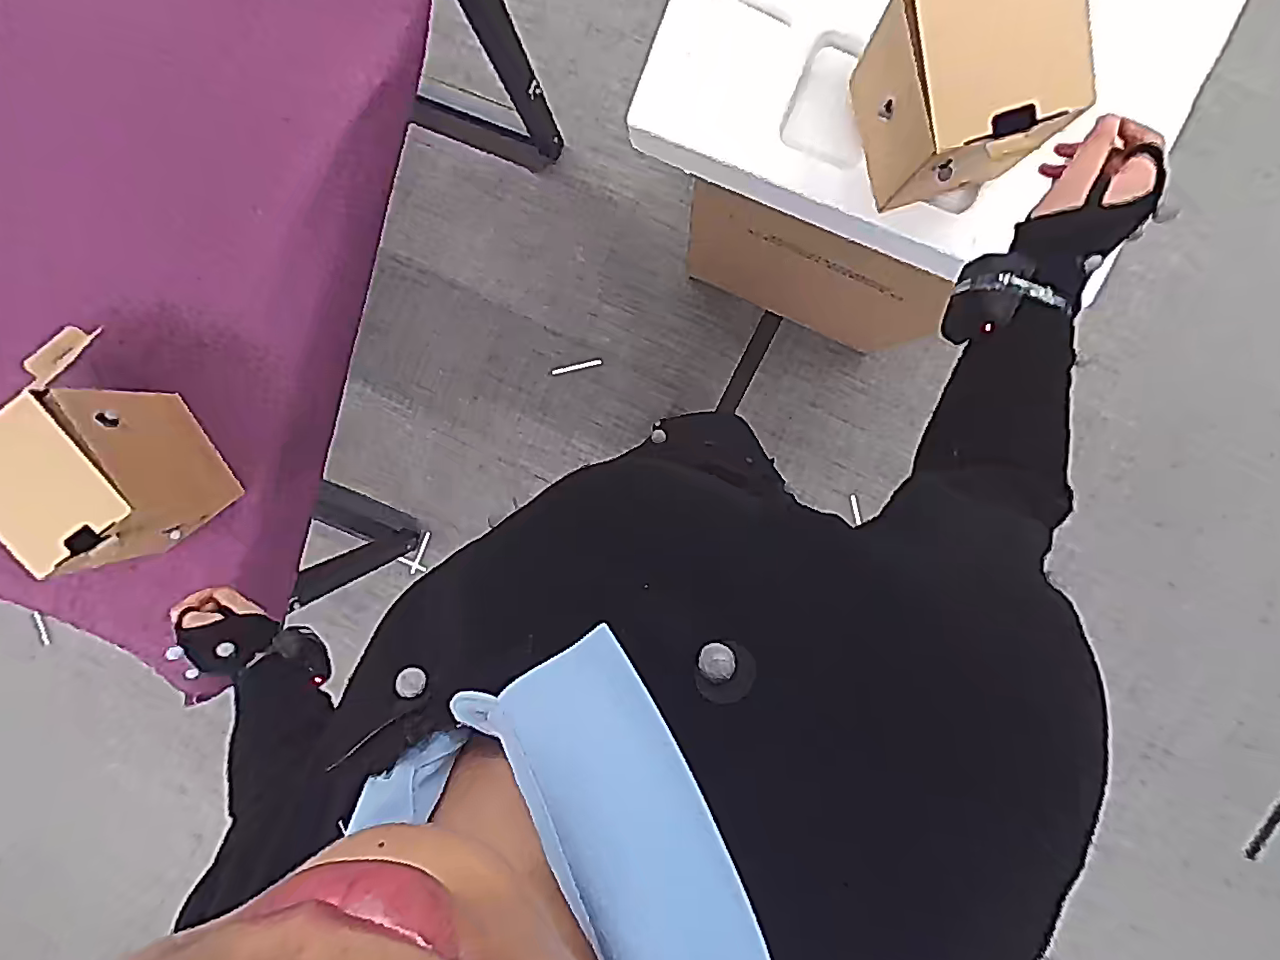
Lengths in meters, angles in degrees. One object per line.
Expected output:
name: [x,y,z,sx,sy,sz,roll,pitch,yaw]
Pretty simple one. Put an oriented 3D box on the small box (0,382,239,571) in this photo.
small box: [-0.703,-0.009,0.722,0.168,0.176,0.179,-32,93,8]
